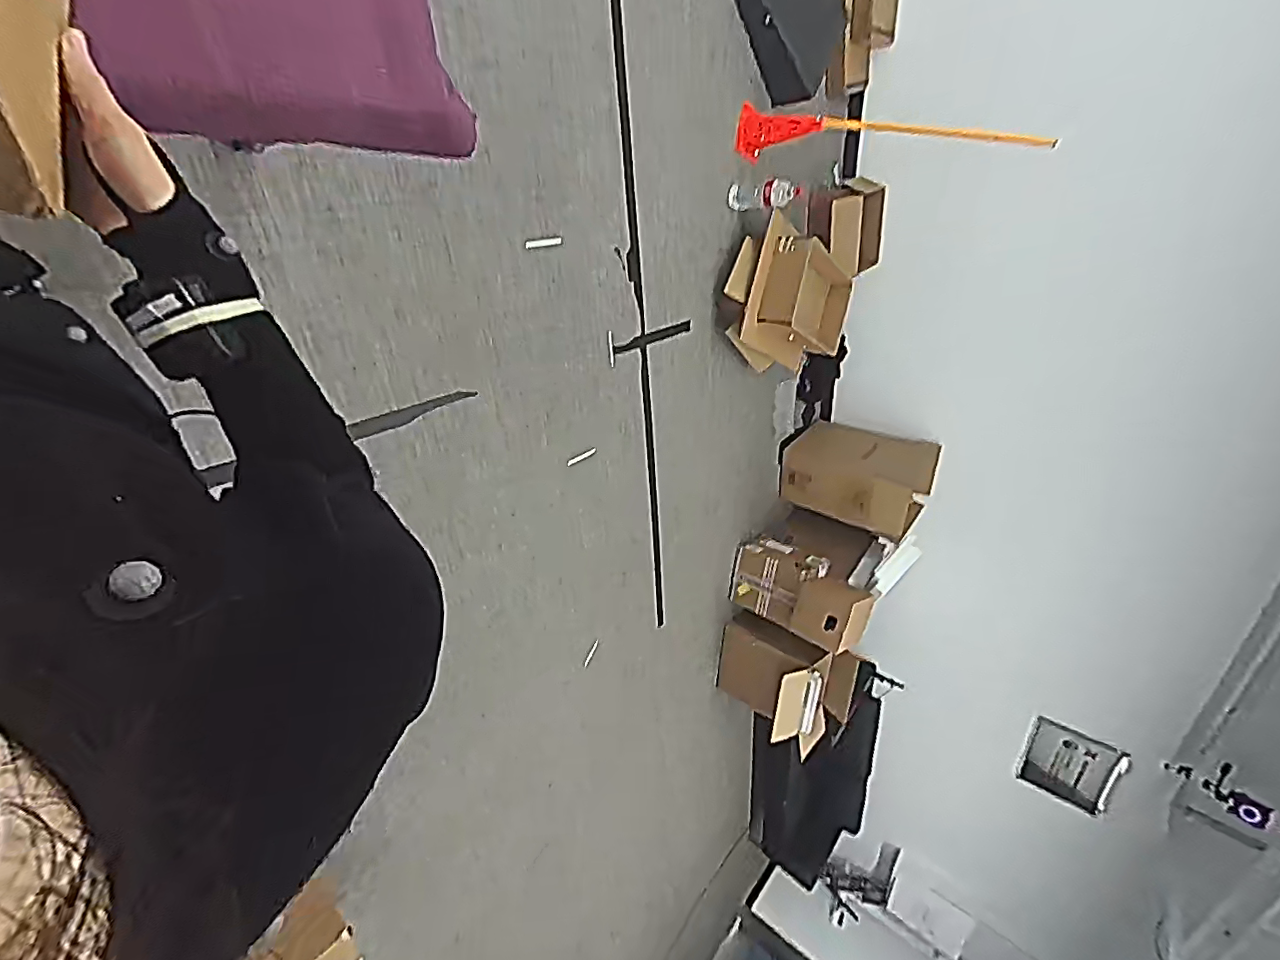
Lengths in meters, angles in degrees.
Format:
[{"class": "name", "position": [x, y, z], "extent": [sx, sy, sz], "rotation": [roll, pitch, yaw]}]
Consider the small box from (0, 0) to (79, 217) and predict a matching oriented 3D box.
[{"class": "small box", "position": [-0.374, -0.253, 0.235], "extent": [0.168, 0.176, 0.179], "rotation": [1, 89, -41]}]
